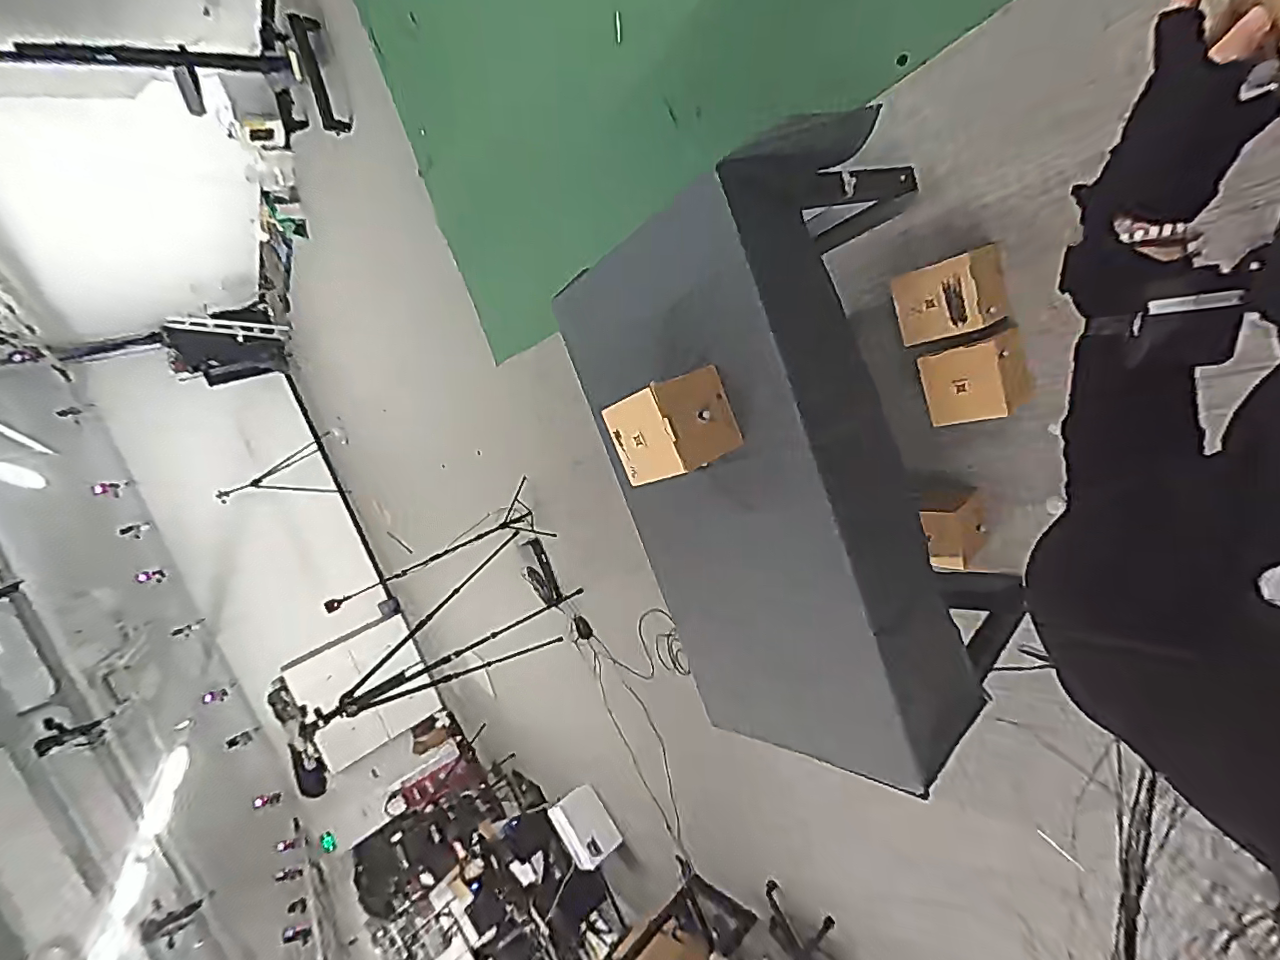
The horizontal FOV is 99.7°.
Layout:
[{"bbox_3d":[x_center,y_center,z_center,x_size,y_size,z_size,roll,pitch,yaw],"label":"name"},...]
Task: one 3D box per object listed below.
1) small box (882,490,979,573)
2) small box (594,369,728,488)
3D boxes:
[{"bbox_3d":[0.800,0.135,1.488,0.179,0.176,0.168,2,113,51],"label":"small box"},{"bbox_3d":[0.047,-0.099,1.040,0.179,0.176,0.168,-15,99,53],"label":"small box"}]
